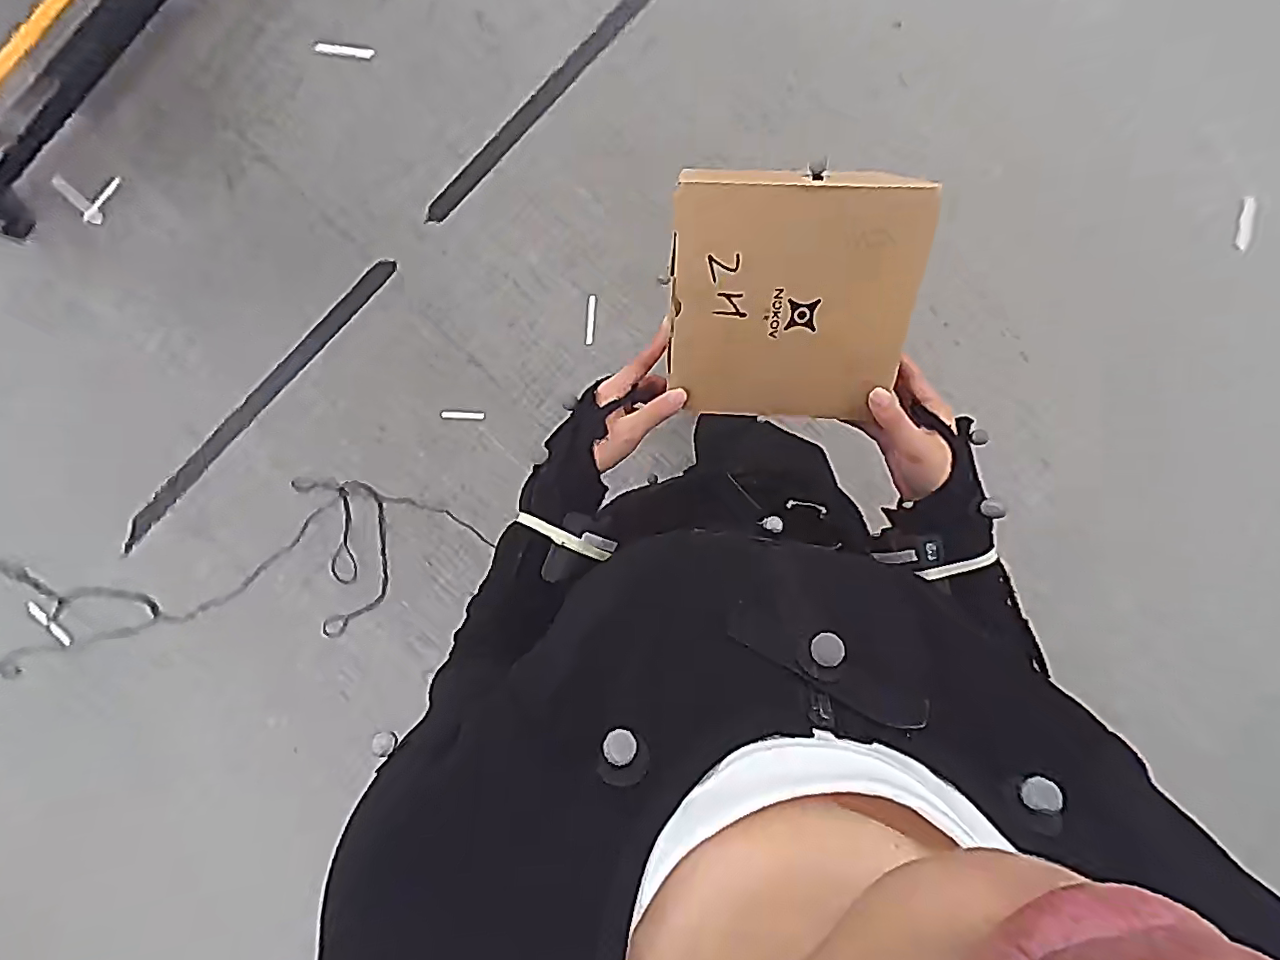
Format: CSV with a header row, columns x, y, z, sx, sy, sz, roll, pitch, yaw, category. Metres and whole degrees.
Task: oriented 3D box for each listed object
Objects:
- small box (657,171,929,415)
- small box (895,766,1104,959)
x,y,z,sx,sy,sz,roll,pitch,yaw,category
0.106,-0.164,0.456,0.179,0.176,0.168,1,120,6,small box
0.531,0.588,0.831,0.168,0.176,0.179,31,96,-1,small box
